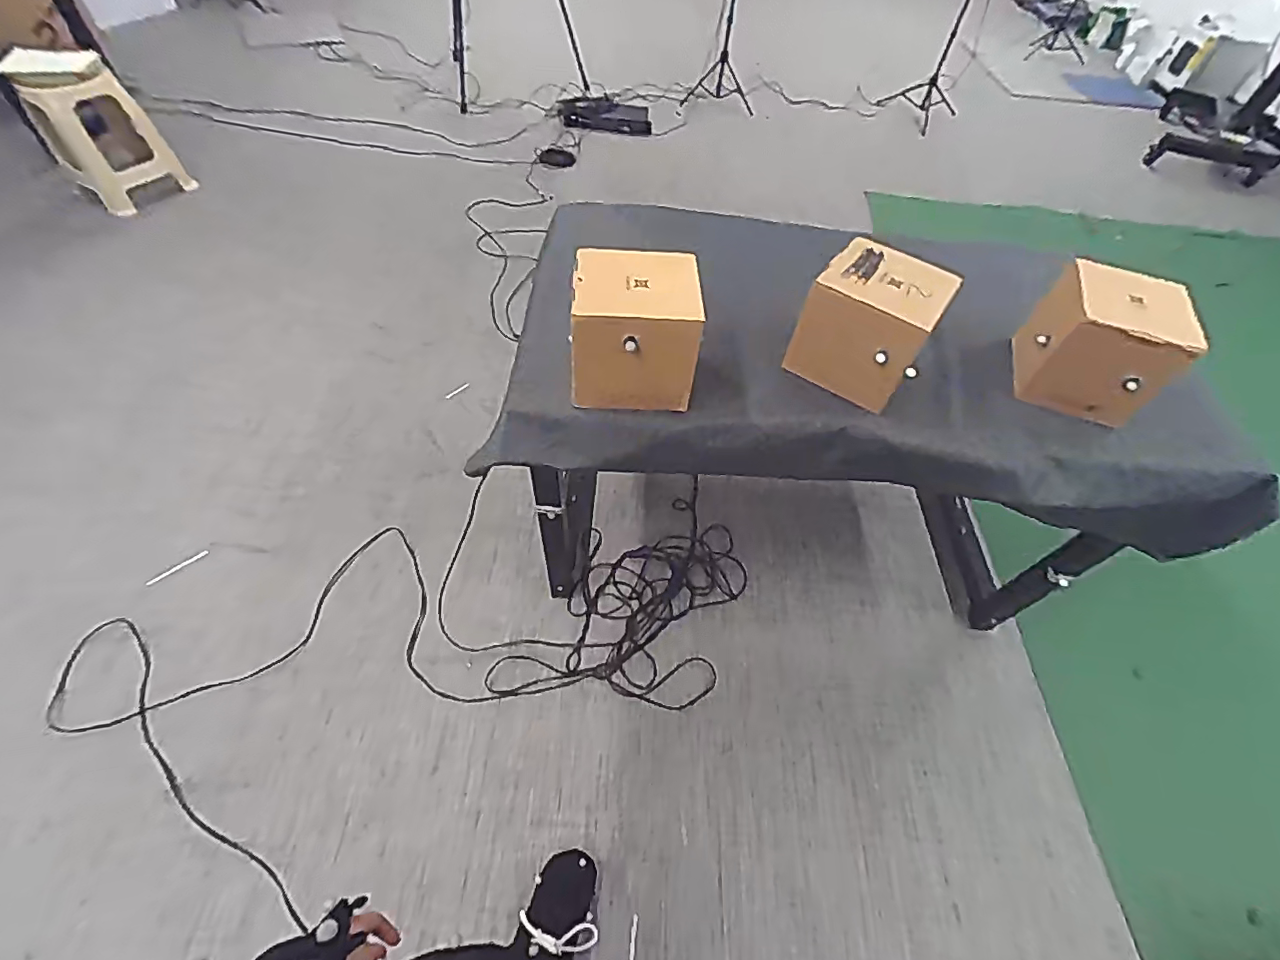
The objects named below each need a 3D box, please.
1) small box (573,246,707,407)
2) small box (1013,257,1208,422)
[{"bbox_3d":[-0.006,-0.224,0.808,0.179,0.176,0.168,1,51,-3],"label":"small box"},{"bbox_3d":[0.738,-0.223,0.874,0.168,0.176,0.179,20,54,9],"label":"small box"}]
